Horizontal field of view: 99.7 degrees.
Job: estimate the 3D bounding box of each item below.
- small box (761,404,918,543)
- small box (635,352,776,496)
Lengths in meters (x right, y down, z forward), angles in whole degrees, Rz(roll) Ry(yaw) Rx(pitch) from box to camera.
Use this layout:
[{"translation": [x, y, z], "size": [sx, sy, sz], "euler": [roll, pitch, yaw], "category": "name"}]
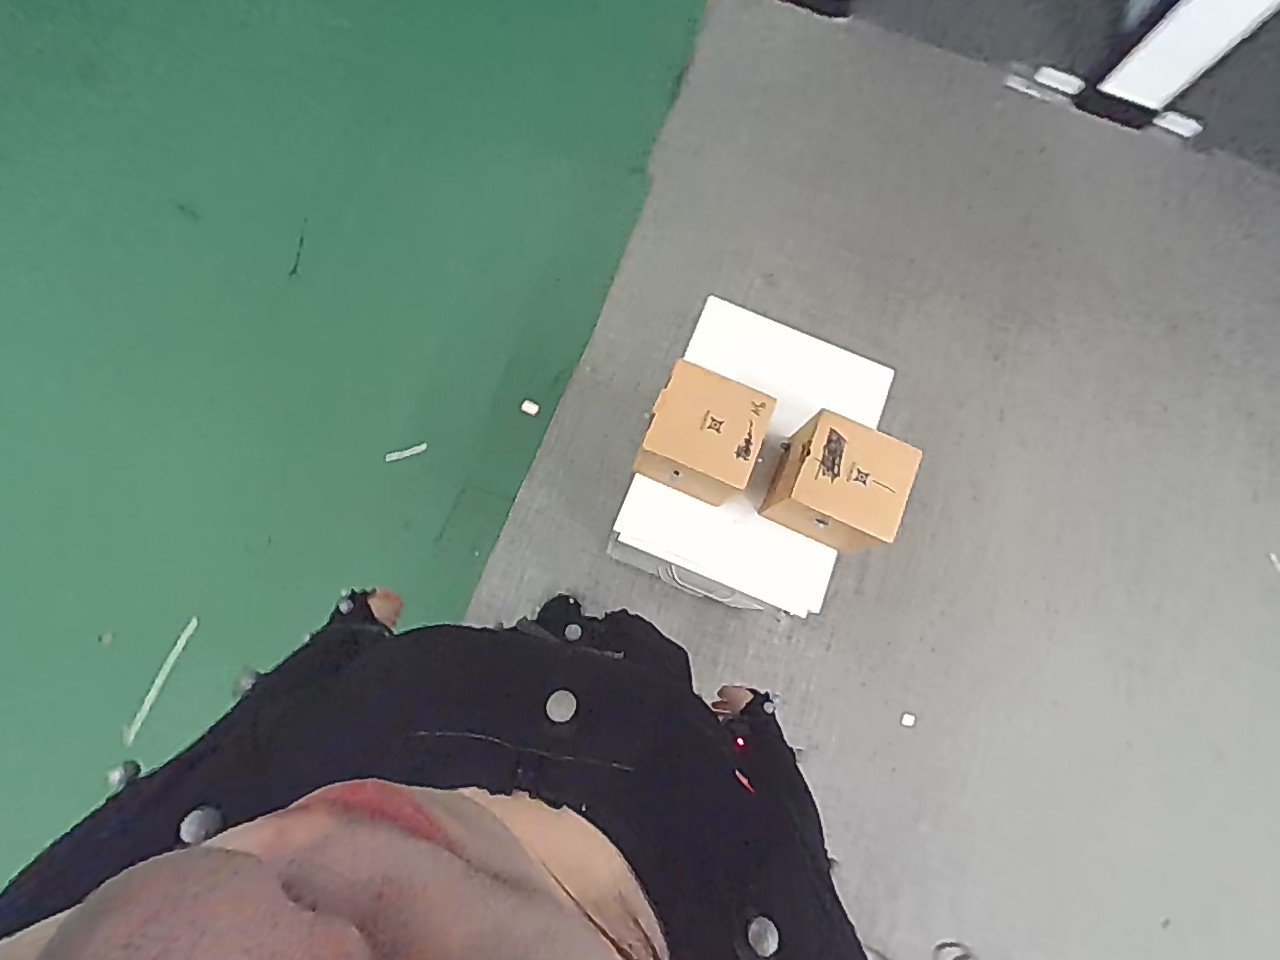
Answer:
[{"translation": [0.330, -0.001, 0.929], "size": [0.179, 0.176, 0.168], "euler": [25, 77, 0], "category": "small box"}, {"translation": [0.101, -0.084, 0.925], "size": [0.179, 0.176, 0.168], "euler": [23, 78, -1], "category": "small box"}]
